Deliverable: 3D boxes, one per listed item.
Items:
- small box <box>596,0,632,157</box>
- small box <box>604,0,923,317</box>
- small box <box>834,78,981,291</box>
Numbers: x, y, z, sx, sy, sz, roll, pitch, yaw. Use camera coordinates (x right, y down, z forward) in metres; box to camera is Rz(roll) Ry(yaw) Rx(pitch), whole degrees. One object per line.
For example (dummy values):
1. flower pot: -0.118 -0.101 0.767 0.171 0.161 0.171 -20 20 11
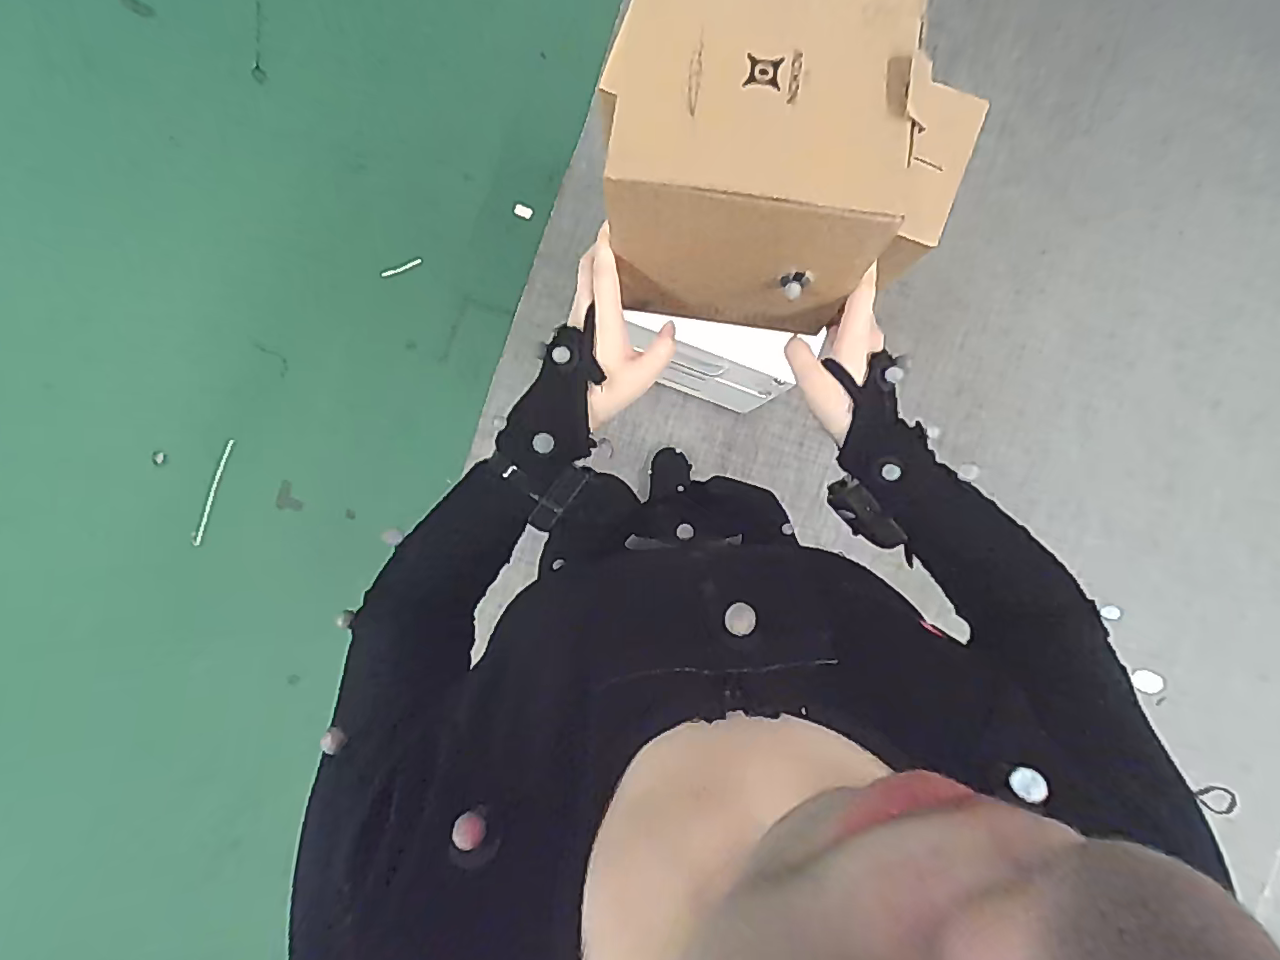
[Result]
1. small box: 0.058 -0.464 0.659 0.179 0.176 0.168 21 90 -3
2. small box: 0.077 -0.237 0.398 0.179 0.176 0.168 8 81 2
3. small box: 0.258 -0.355 0.659 0.179 0.176 0.168 20 90 0
